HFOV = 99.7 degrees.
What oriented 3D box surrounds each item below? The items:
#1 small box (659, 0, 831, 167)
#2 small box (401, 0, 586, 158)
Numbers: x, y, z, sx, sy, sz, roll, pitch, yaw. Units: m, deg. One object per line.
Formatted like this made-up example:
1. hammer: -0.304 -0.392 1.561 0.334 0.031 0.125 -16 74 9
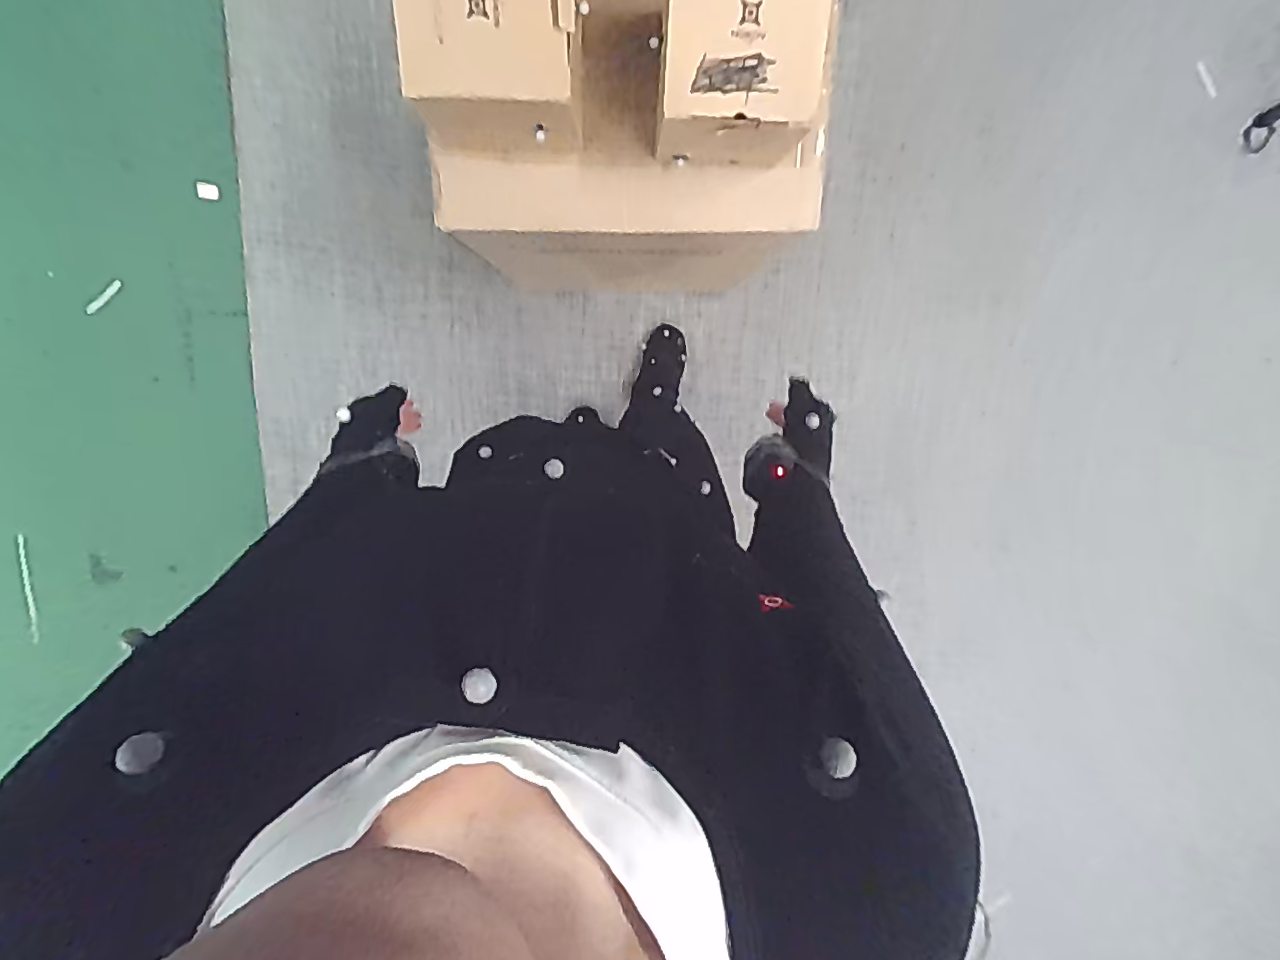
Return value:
1. small box: 0.110 -0.483 0.628 0.168 0.176 0.179 2 105 -2
2. small box: -0.155 -0.492 0.626 0.179 0.176 0.168 0 104 1
